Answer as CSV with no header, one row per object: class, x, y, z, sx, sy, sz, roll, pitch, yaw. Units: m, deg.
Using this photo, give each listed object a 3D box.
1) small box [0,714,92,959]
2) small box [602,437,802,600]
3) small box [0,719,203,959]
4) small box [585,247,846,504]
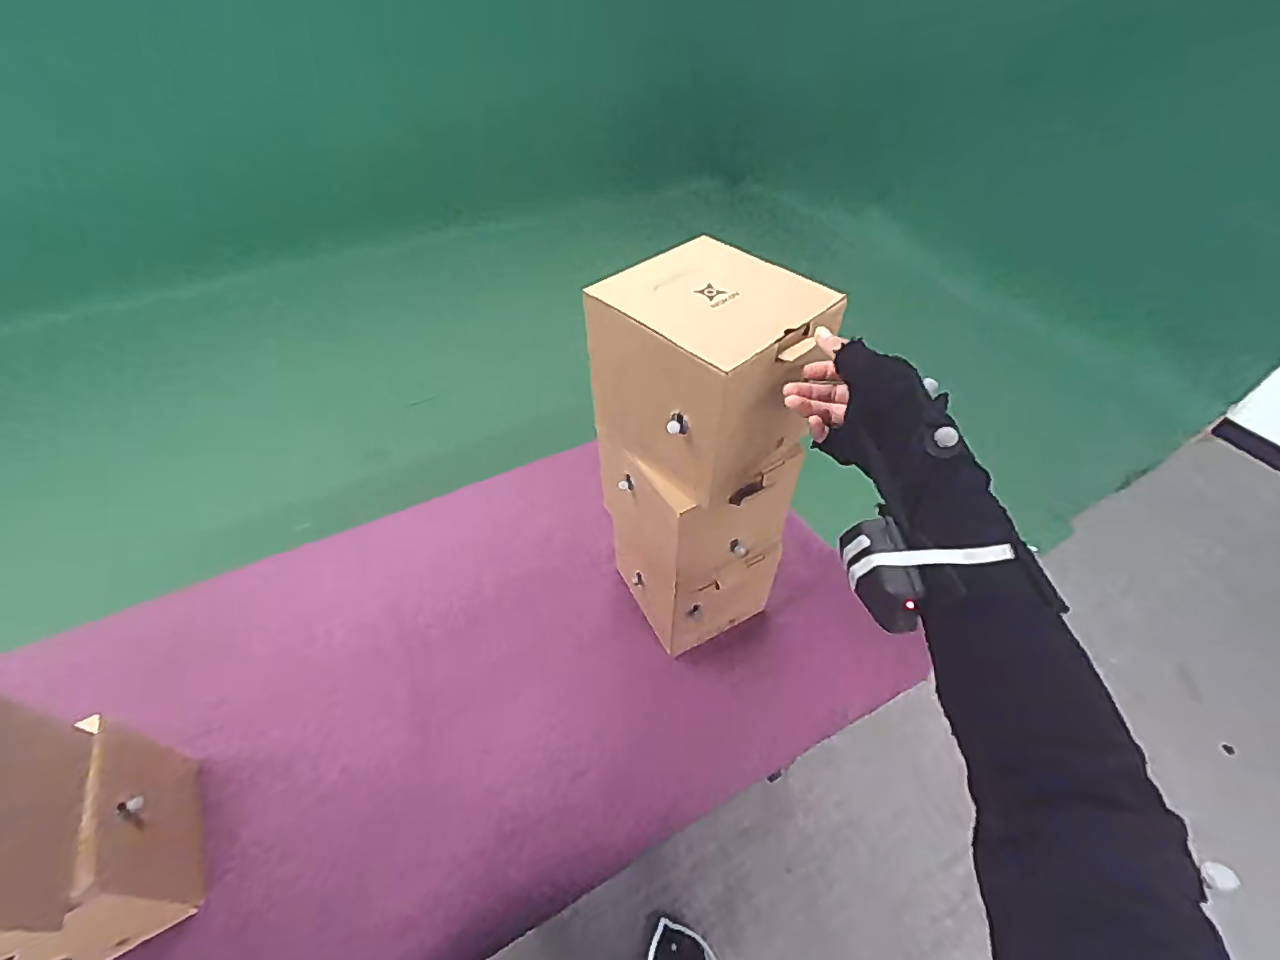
small box,-0.588,0.294,0.418,0.168,0.176,0.179,-19,52,-17
small box,0.063,0.011,0.661,0.168,0.176,0.179,-25,53,-19
small box,-0.589,0.388,0.554,0.168,0.176,0.179,-23,54,-20
small box,0.066,-0.099,0.541,0.168,0.176,0.179,-34,56,-27
